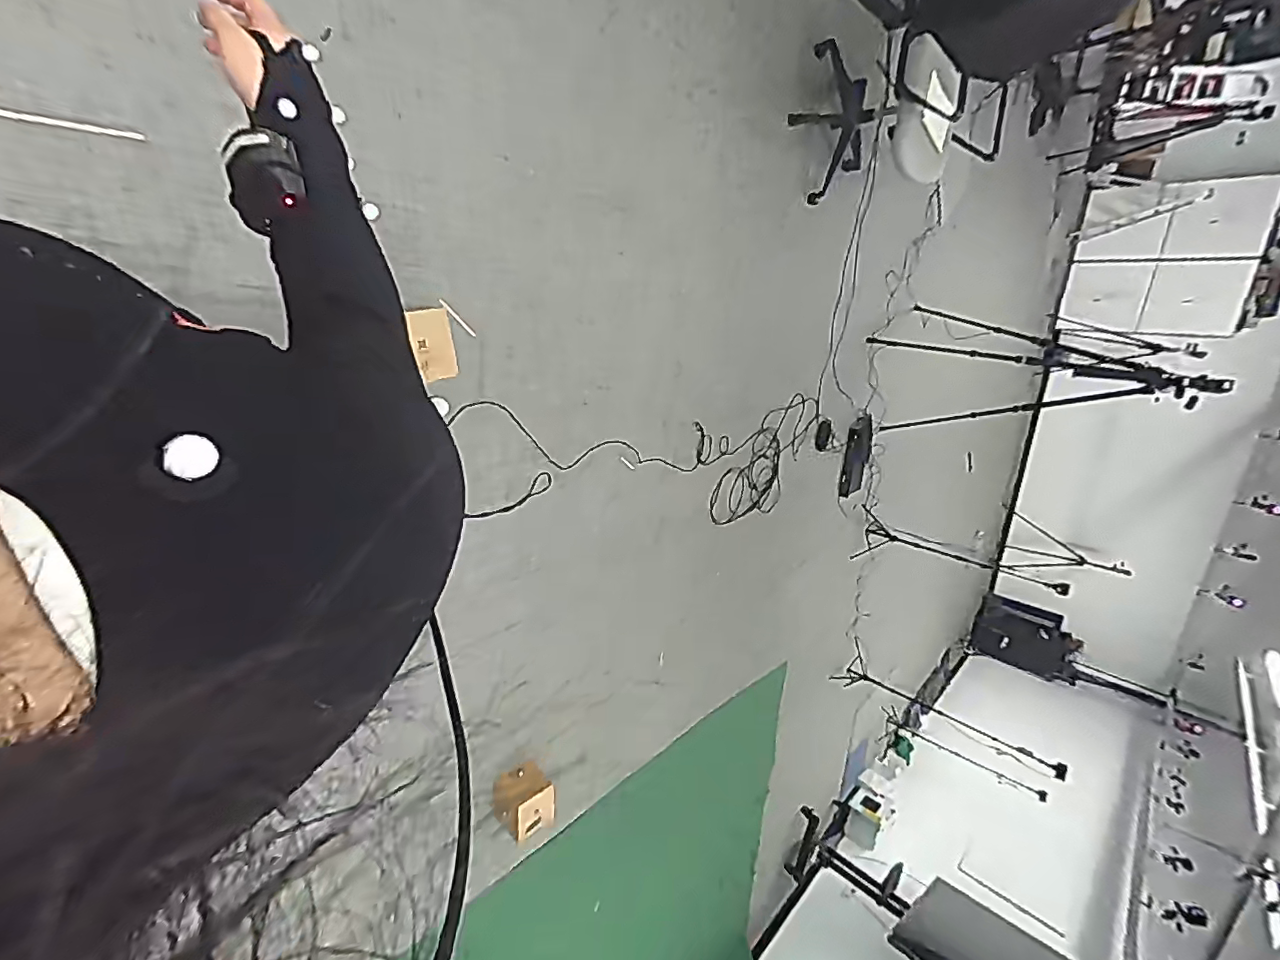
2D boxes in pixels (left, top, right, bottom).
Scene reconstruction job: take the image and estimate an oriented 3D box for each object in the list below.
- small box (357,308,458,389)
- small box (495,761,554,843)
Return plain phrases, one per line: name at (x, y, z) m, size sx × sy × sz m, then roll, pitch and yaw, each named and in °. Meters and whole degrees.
small box at (-0.594, -0.342, 1.379) m, size 0.168 × 0.176 × 0.179 m, roll -25°, pitch 121°, yaw -40°
small box at (-0.450, 1.238, 2.093) m, size 0.168 × 0.176 × 0.179 m, roll -12°, pitch 112°, yaw -44°
